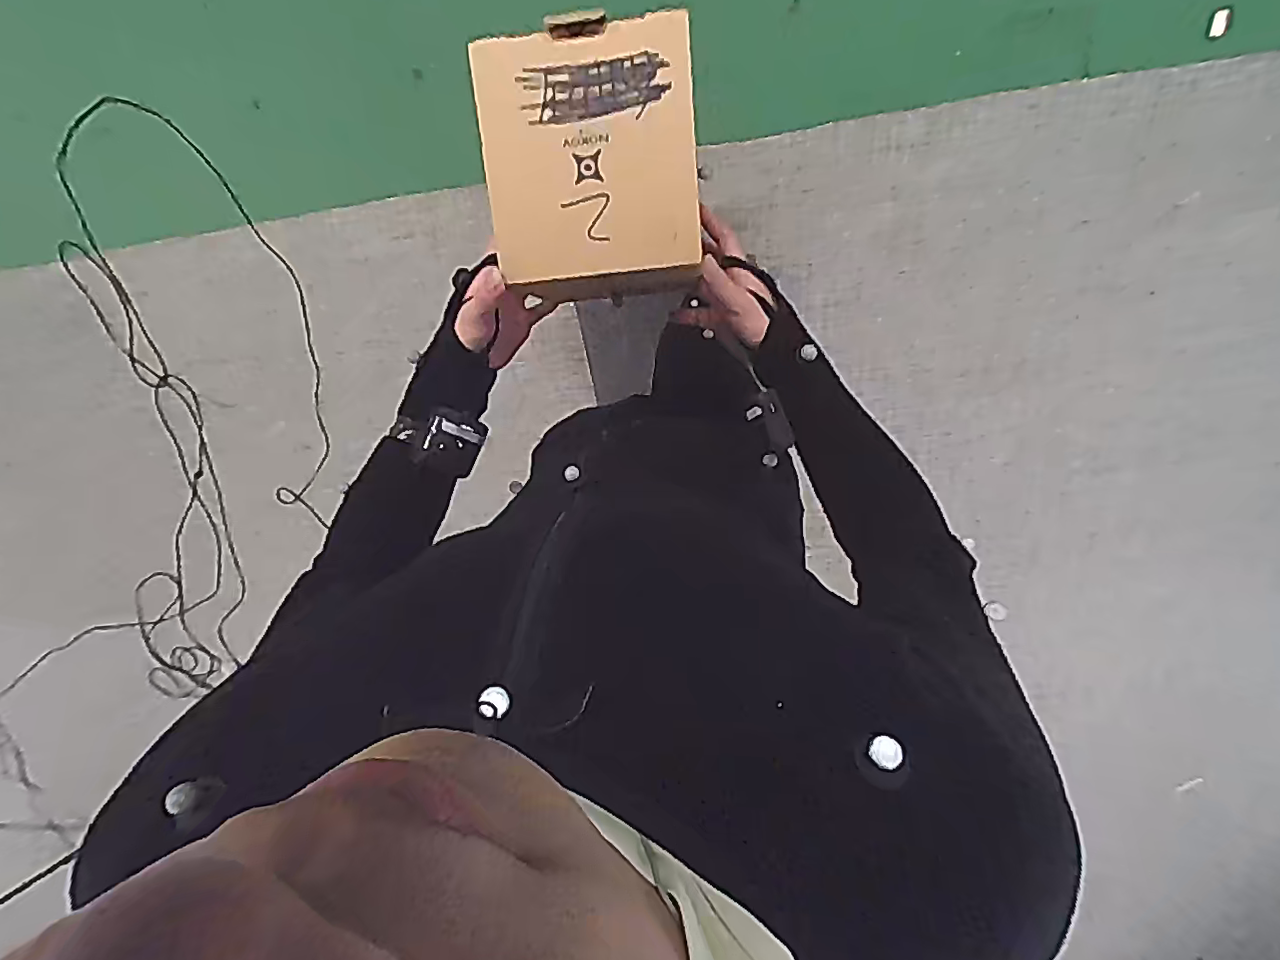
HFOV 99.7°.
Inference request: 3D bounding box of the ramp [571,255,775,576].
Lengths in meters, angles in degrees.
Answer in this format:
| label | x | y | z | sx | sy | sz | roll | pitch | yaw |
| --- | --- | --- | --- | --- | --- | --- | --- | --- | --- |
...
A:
| label | x | y | z | sx | sy | sz | roll | pitch | yaw |
| --- | --- | --- | --- | --- | --- | --- | --- | --- | --- |
| ramp | 0.141 | -0.115 | 1.627 | 0.509 | 0.206 | 0.991 | -8 | 109 | 9 |
